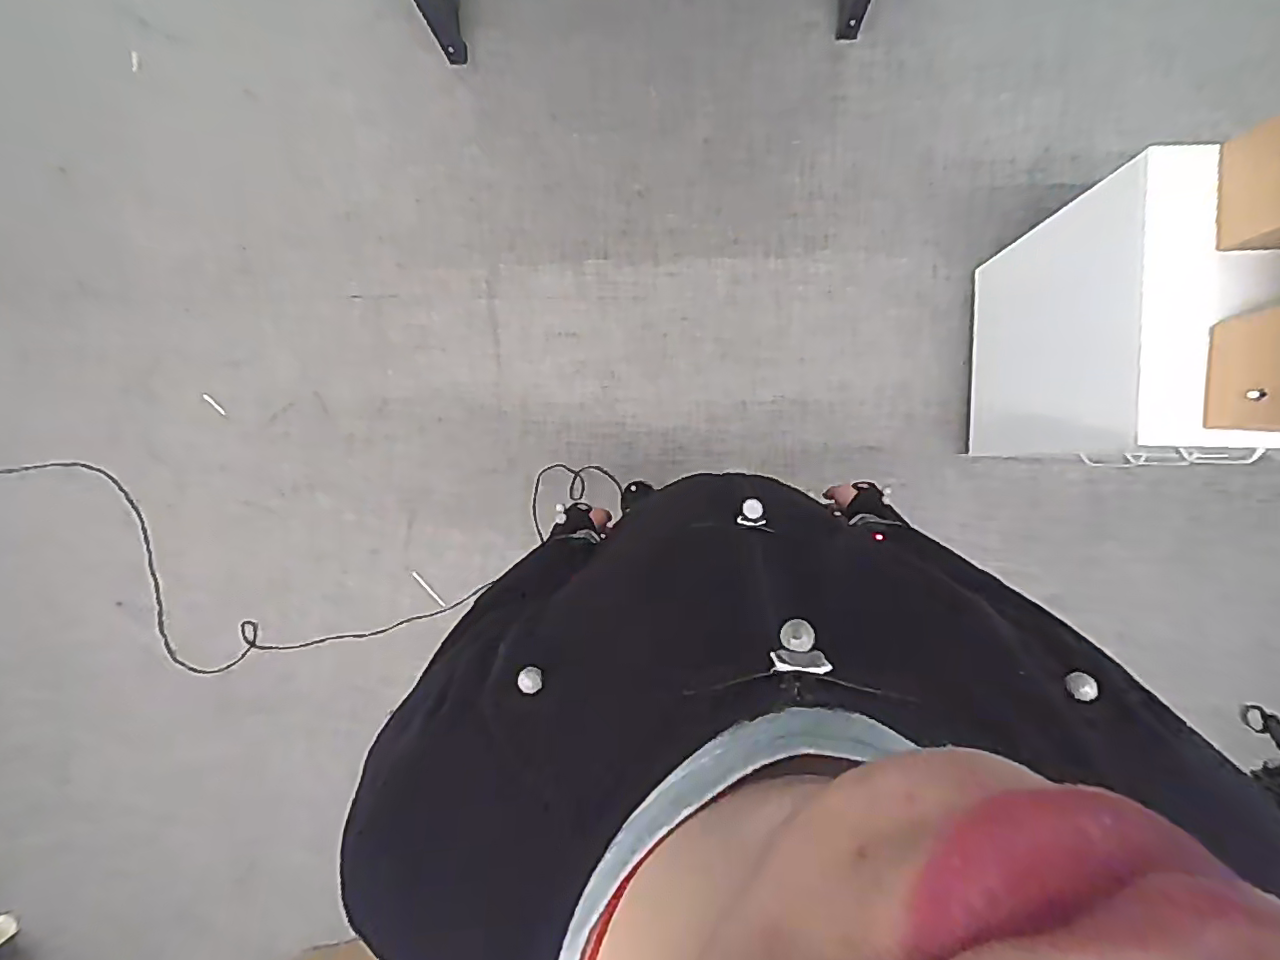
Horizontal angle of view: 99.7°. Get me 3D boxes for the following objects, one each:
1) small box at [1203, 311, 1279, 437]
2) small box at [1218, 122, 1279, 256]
[{"bbox_3d":[1.017,-0.158,0.818,0.168,0.176,0.179,3,89,4],"label":"small box"},{"bbox_3d":[1.034,-0.455,0.810,0.168,0.176,0.179,0,93,5],"label":"small box"}]
